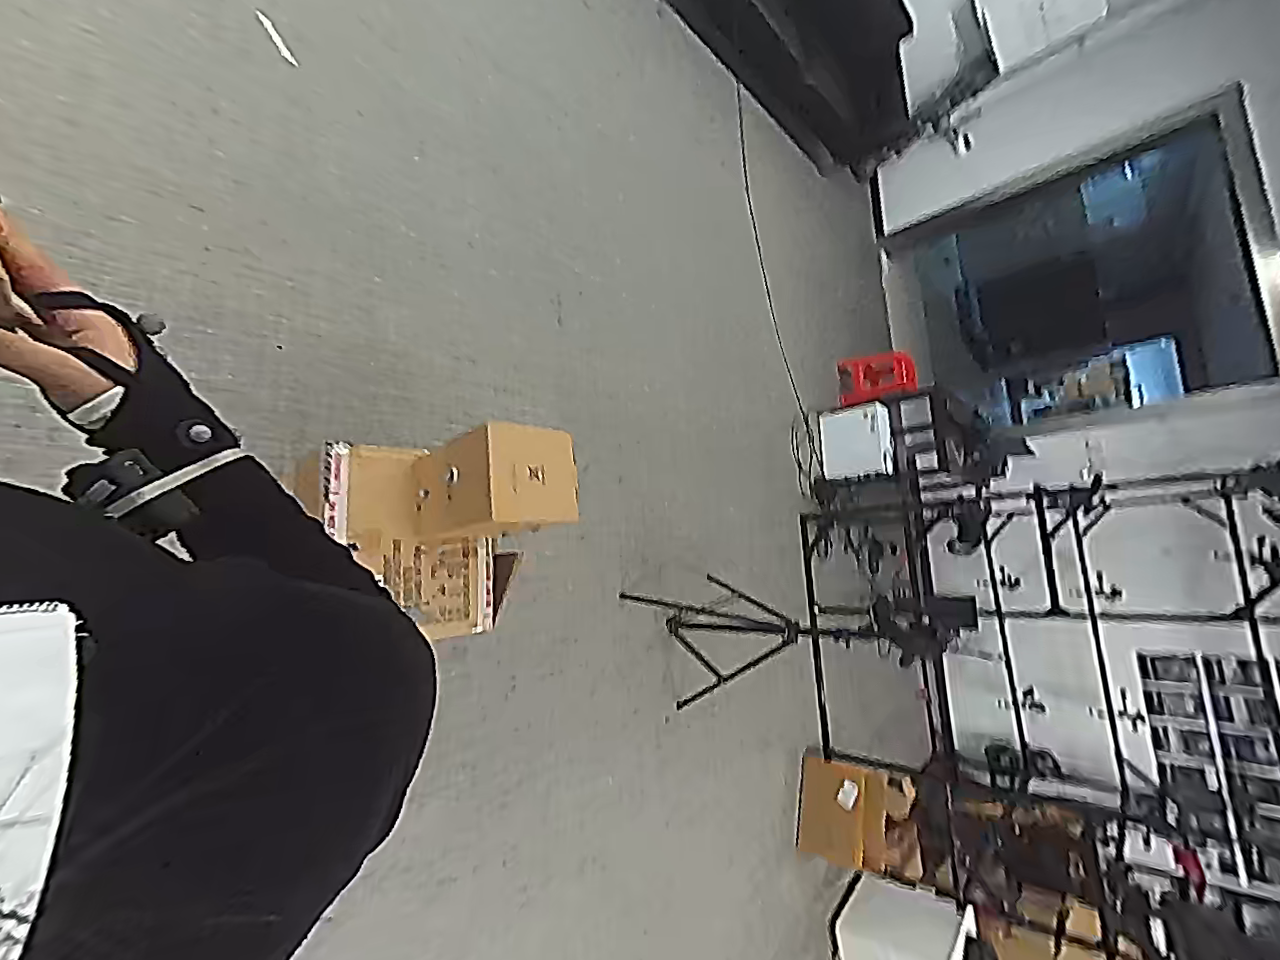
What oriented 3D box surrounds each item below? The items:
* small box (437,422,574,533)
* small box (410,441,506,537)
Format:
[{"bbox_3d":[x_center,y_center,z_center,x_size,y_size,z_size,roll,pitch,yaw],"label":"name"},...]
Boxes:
[{"bbox_3d":[-0.241,0.004,0.965,0.179,0.176,0.168,4,77,-45],"label":"small box"},{"bbox_3d":[-0.343,0.025,1.092,0.179,0.176,0.168,4,77,-45],"label":"small box"}]
